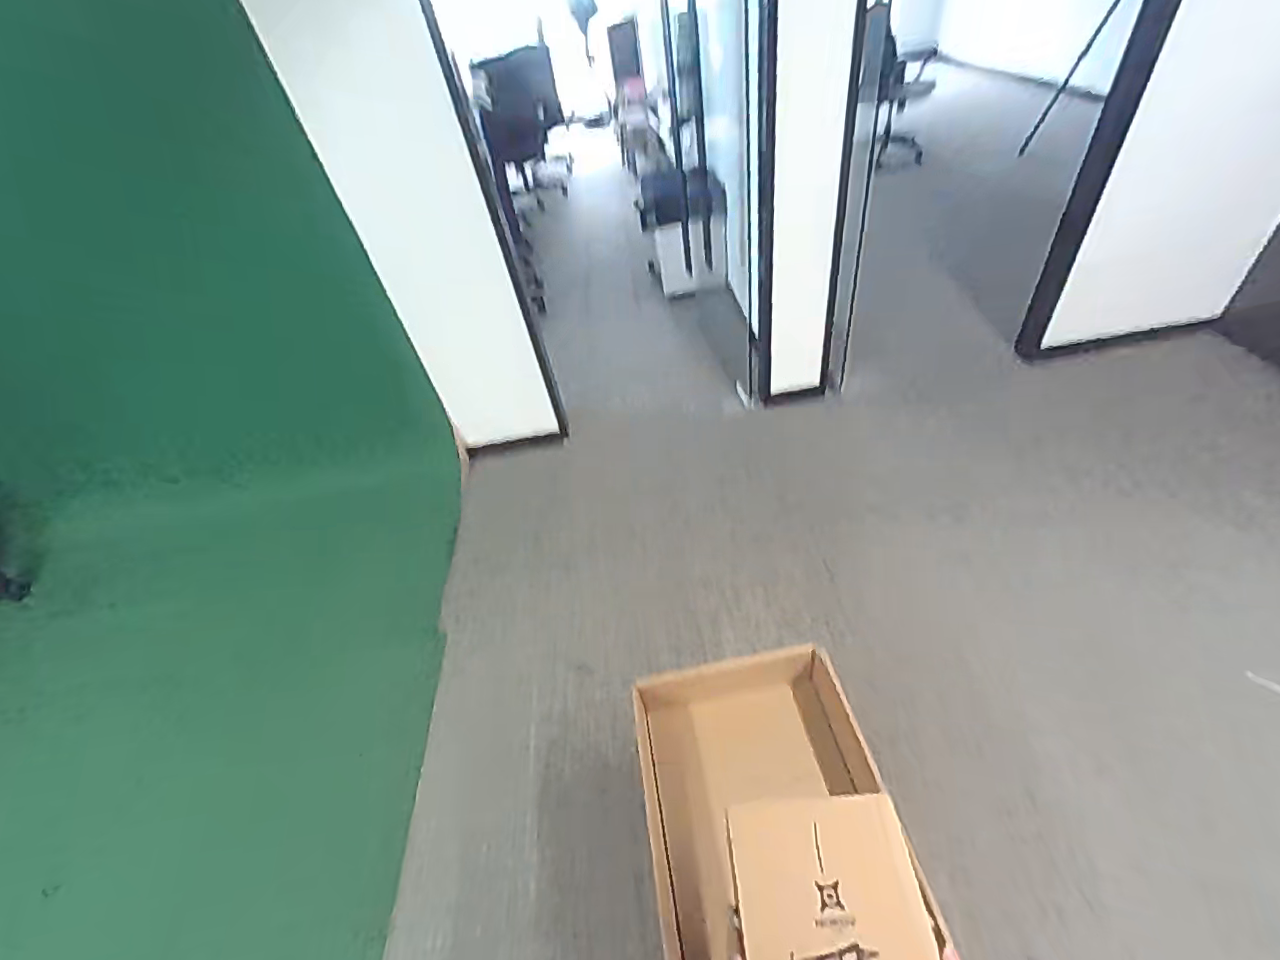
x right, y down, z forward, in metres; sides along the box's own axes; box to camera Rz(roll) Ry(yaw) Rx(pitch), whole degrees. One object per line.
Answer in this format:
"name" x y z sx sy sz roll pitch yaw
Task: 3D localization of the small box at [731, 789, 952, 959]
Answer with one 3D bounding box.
"small box" 0.186 0.429 0.536 0.168 0.176 0.179 -7 47 3
